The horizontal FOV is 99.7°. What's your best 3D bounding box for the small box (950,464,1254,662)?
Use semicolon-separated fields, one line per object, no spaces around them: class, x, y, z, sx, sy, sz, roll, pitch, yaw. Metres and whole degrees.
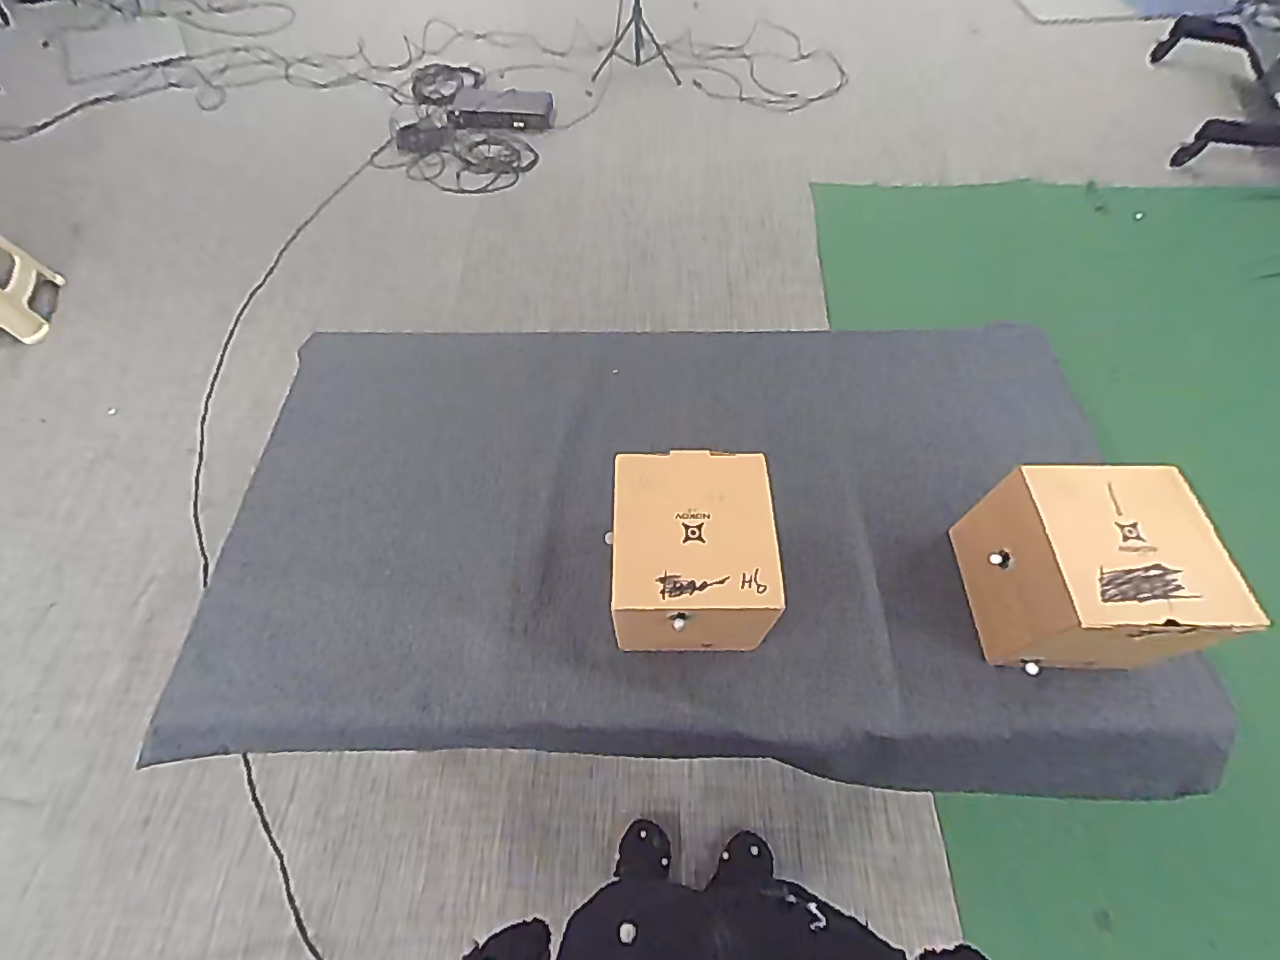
small box;0.484;0.099;0.606;0.168;0.176;0.179;1;59;2

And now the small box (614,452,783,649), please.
small box;0.057;0.085;0.625;0.168;0.176;0.179;0;59;1
